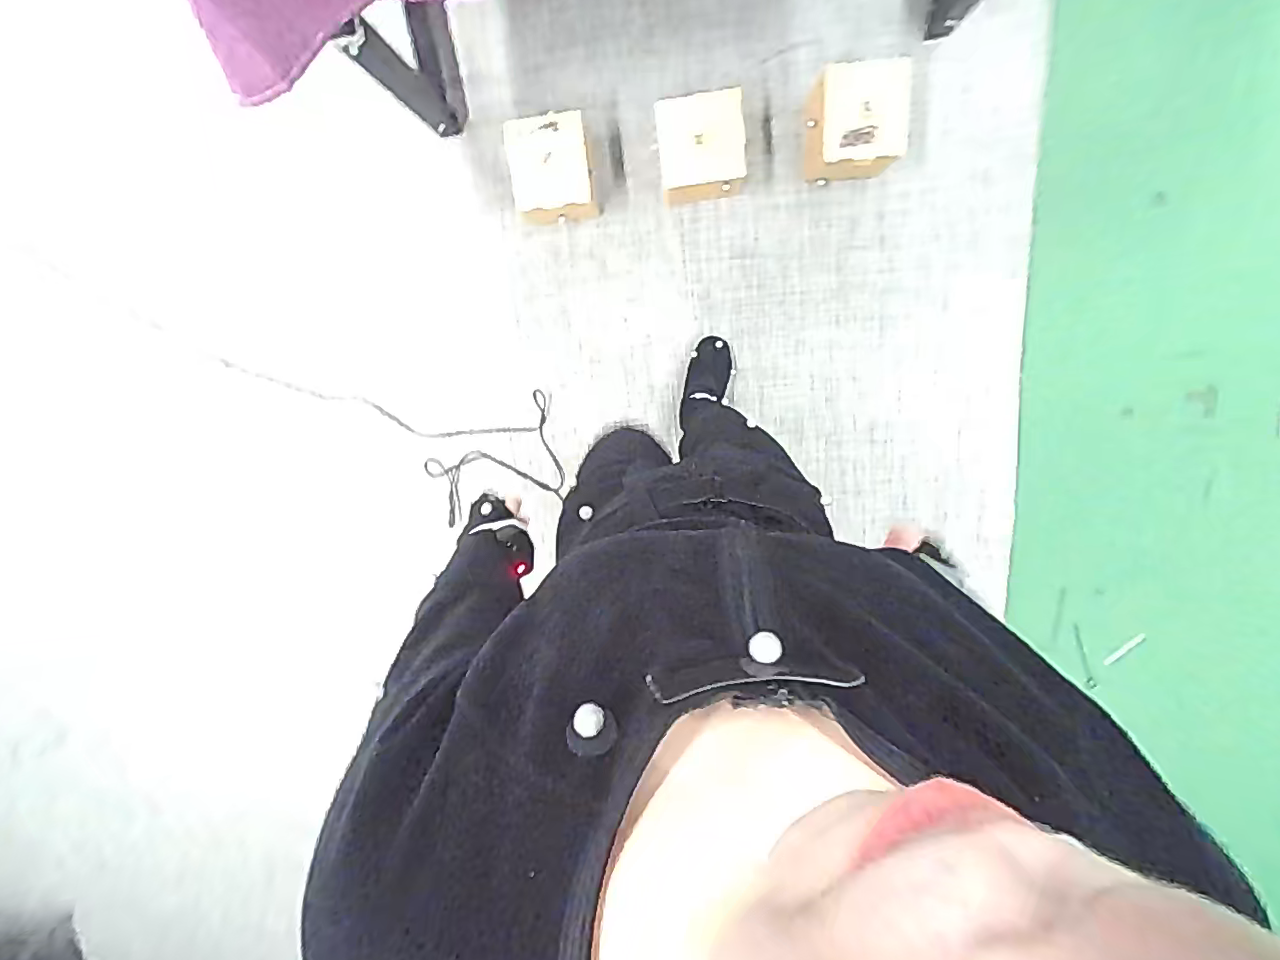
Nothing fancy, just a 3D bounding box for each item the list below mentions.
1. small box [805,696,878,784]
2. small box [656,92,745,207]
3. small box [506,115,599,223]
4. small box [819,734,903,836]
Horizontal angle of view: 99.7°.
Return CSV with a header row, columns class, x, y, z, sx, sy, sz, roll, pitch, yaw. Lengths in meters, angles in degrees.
class,x,y,z,sx,sy,sz,roll,pitch,yaw
small box,0.581,0.749,1.575,0.168,0.176,0.179,-5,105,6
small box,0.134,-0.726,1.207,0.179,0.176,0.168,-6,105,5
small box,-0.190,-0.697,1.232,0.168,0.176,0.179,-5,106,4
small box,0.573,0.788,1.415,0.168,0.176,0.179,-6,105,6
